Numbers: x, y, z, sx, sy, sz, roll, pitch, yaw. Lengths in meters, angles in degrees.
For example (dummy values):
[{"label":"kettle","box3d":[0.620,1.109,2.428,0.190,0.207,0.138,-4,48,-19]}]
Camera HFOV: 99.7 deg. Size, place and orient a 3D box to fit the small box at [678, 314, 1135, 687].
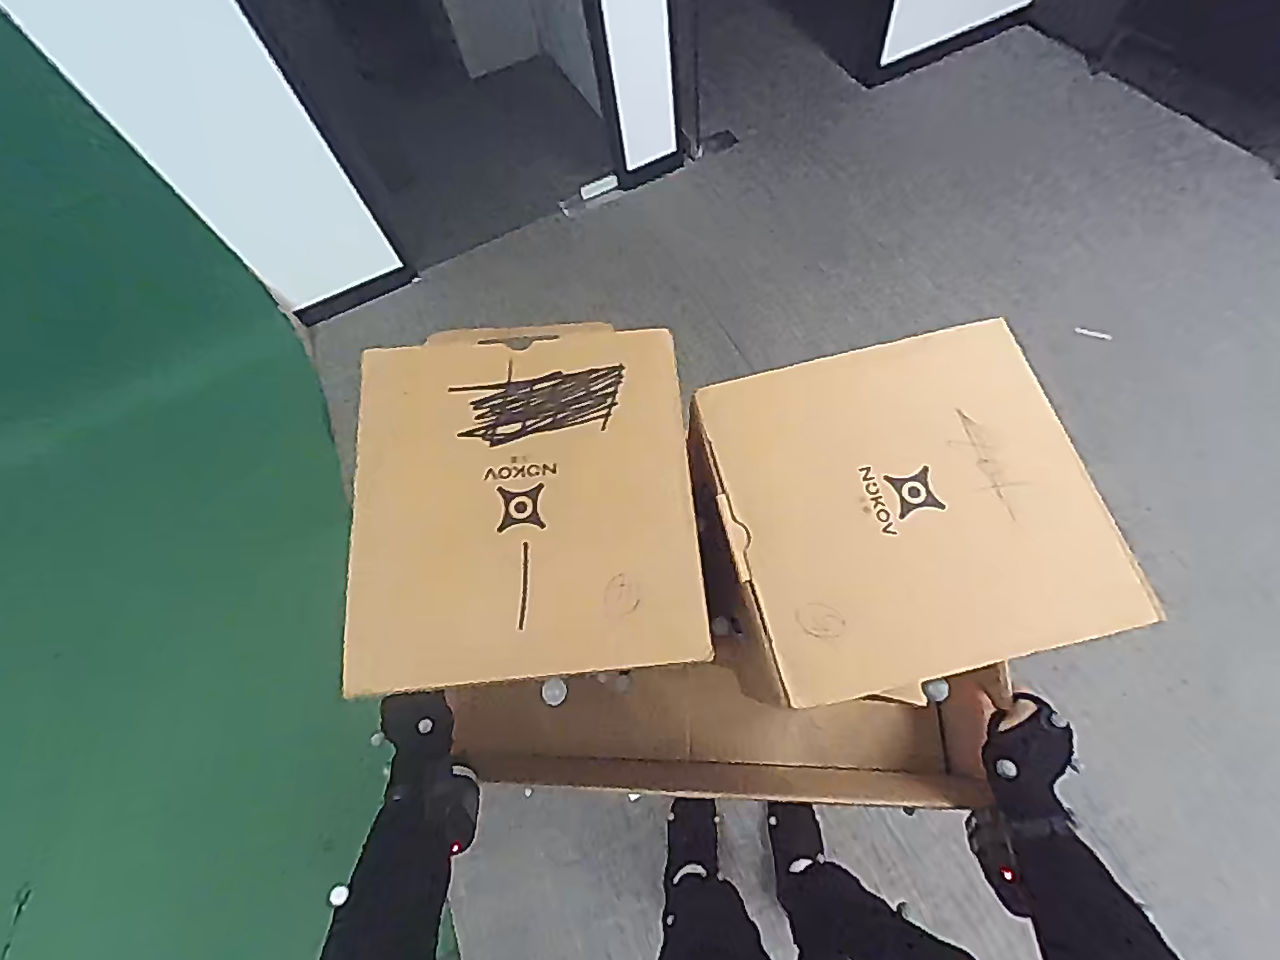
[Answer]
[{"label":"small box","box3d":[0.128,0.029,0.343,0.179,0.176,0.168,-13,70,-1]}]
